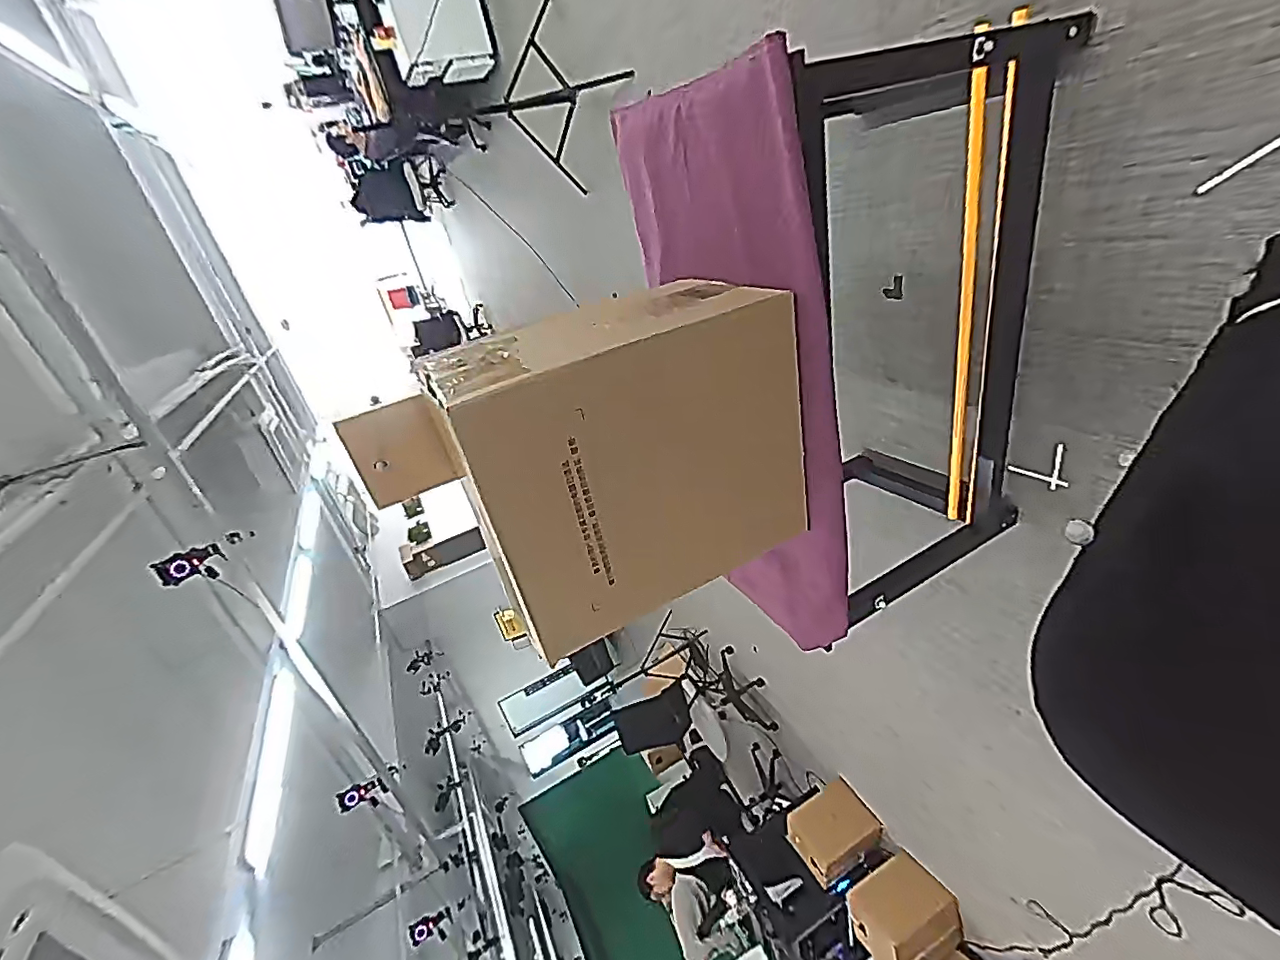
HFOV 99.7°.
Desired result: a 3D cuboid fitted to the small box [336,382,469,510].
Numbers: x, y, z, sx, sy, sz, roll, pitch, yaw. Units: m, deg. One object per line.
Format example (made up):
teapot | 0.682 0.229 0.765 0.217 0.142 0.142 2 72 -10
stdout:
small box | -0.447 -0.074 1.027 0.168 0.176 0.179 33 144 60
